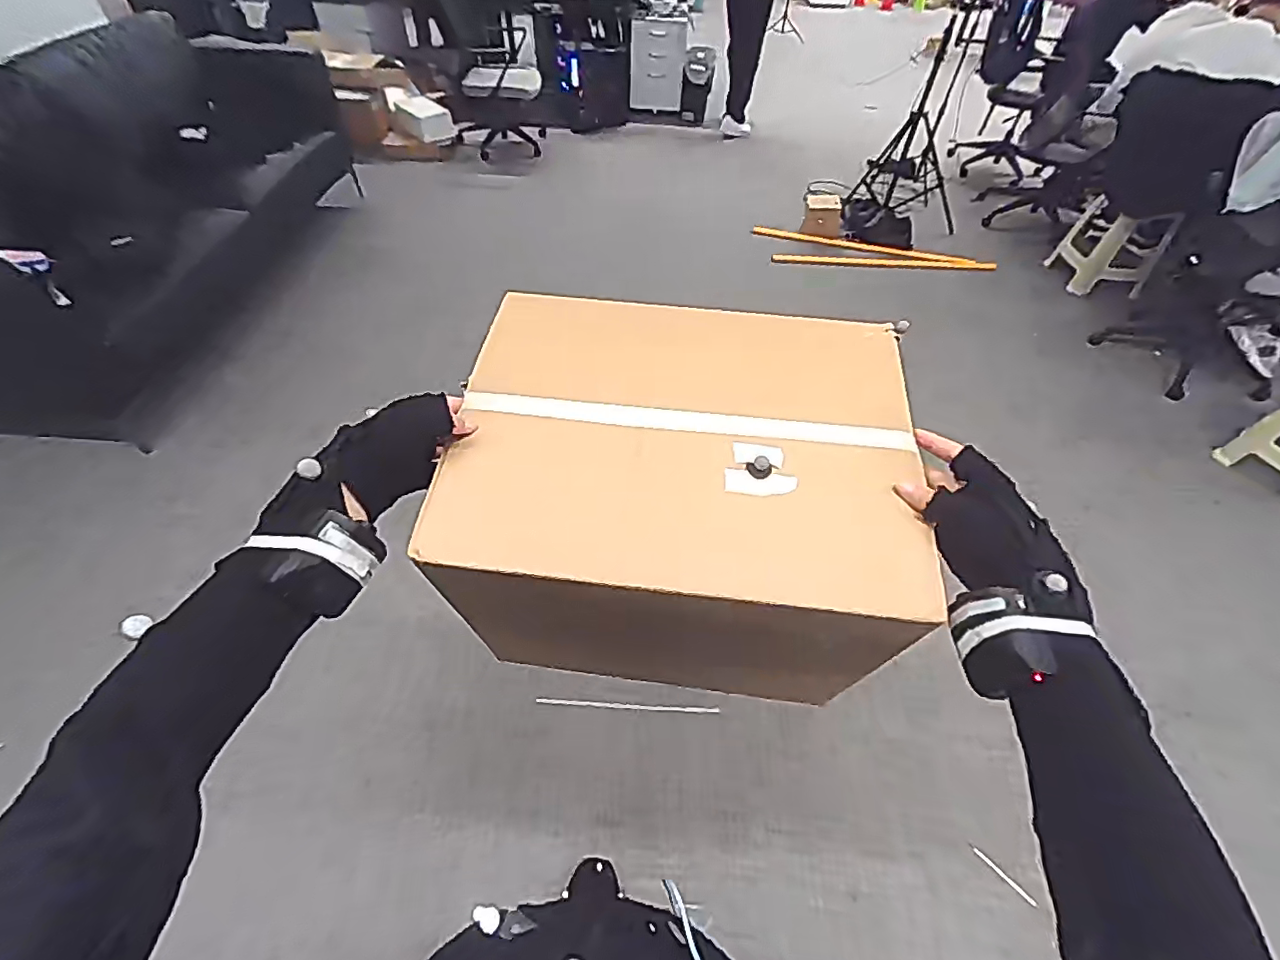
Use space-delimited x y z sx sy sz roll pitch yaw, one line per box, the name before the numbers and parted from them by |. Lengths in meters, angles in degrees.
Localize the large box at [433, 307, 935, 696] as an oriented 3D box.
large box | 0.042 0.038 0.624 0.408 0.320 0.320 7 58 3
